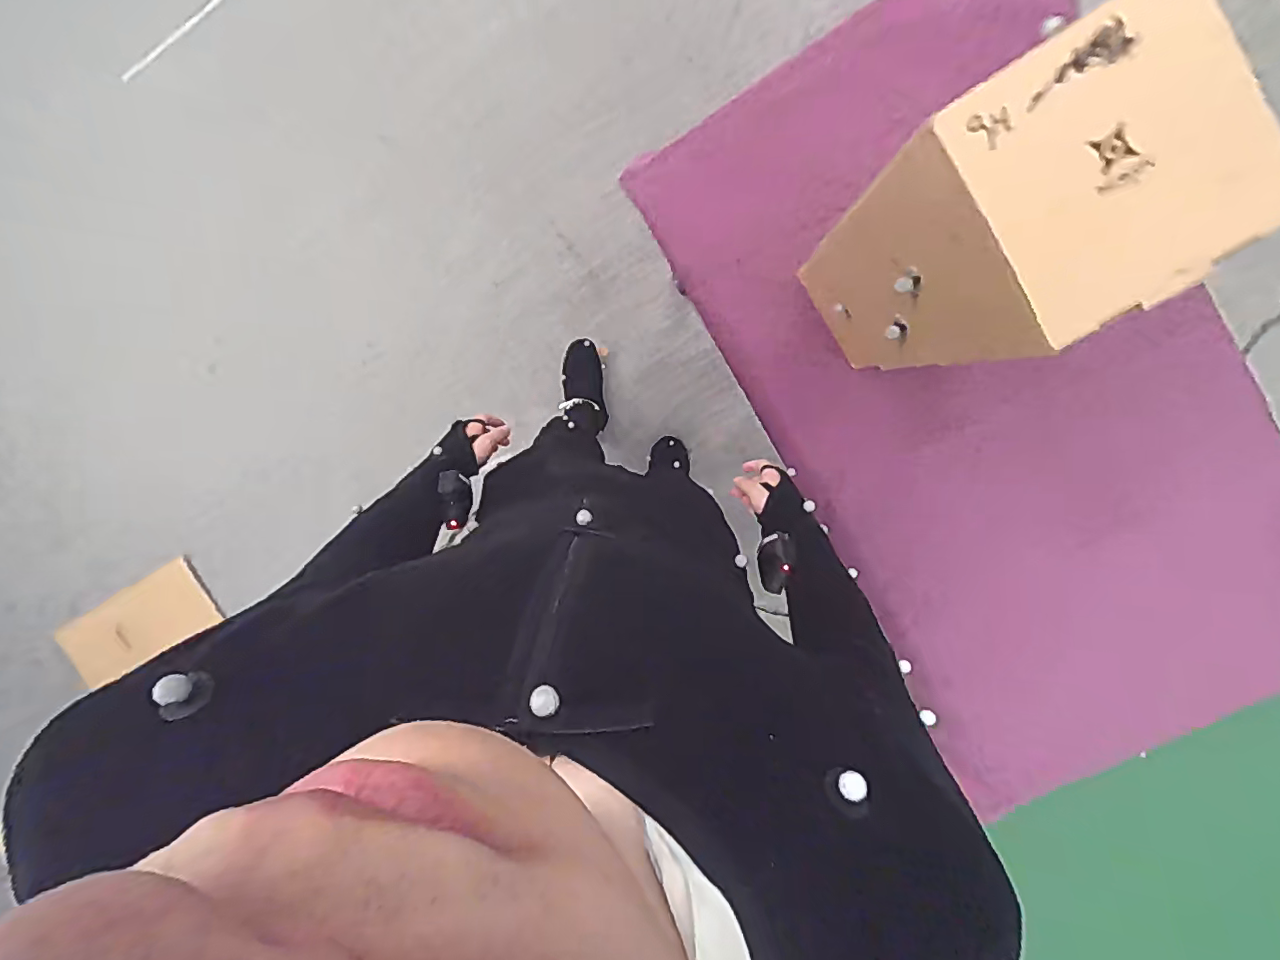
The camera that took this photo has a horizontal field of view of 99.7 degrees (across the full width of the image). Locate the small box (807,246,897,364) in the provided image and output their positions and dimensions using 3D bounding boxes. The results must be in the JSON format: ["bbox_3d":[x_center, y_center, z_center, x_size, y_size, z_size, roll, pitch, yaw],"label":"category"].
[{"bbox_3d":[0.353,-0.275,0.740,0.168,0.176,0.179,-31,94,10],"label":"small box"}]

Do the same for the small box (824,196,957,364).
[{"bbox_3d":[0.324,-0.239,0.581,0.168,0.176,0.179,-29,94,10],"label":"small box"}]

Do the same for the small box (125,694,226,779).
[{"bbox_3d":[-1.571,0.868,1.841,0.168,0.176,0.179,-23,95,9],"label":"small box"}]

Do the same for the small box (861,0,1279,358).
[{"bbox_3d":[0.305,-0.210,0.421,0.168,0.176,0.179,-30,95,10],"label":"small box"}]
